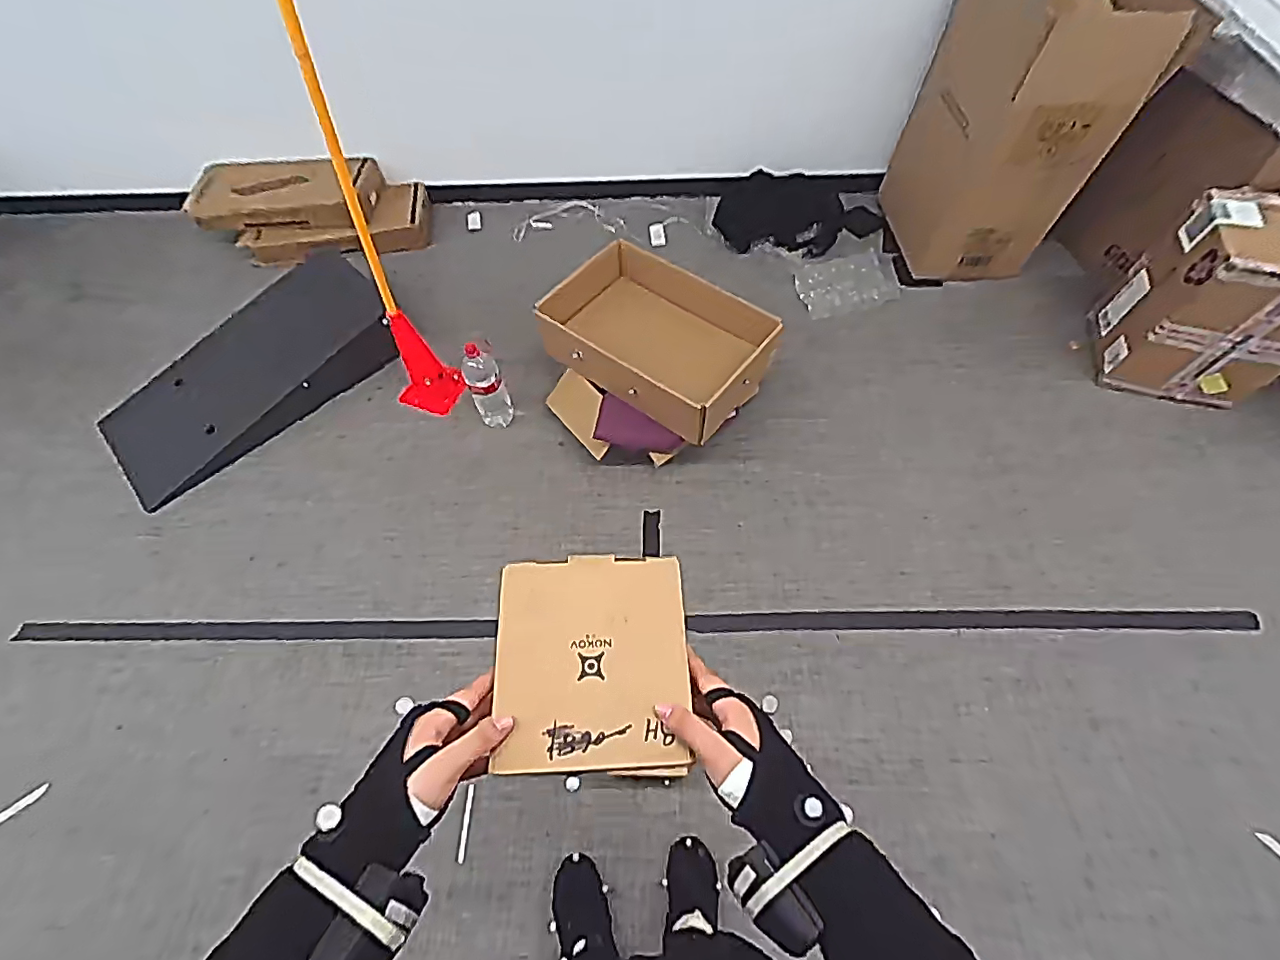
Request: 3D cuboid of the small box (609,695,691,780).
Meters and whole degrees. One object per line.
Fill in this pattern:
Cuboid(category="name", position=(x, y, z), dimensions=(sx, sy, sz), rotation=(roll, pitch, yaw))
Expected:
Cuboid(category="small box", position=(0.023, 0.596, 1.249), dimensions=(0.179, 0.176, 0.168), rotation=(-2, 59, 2))
